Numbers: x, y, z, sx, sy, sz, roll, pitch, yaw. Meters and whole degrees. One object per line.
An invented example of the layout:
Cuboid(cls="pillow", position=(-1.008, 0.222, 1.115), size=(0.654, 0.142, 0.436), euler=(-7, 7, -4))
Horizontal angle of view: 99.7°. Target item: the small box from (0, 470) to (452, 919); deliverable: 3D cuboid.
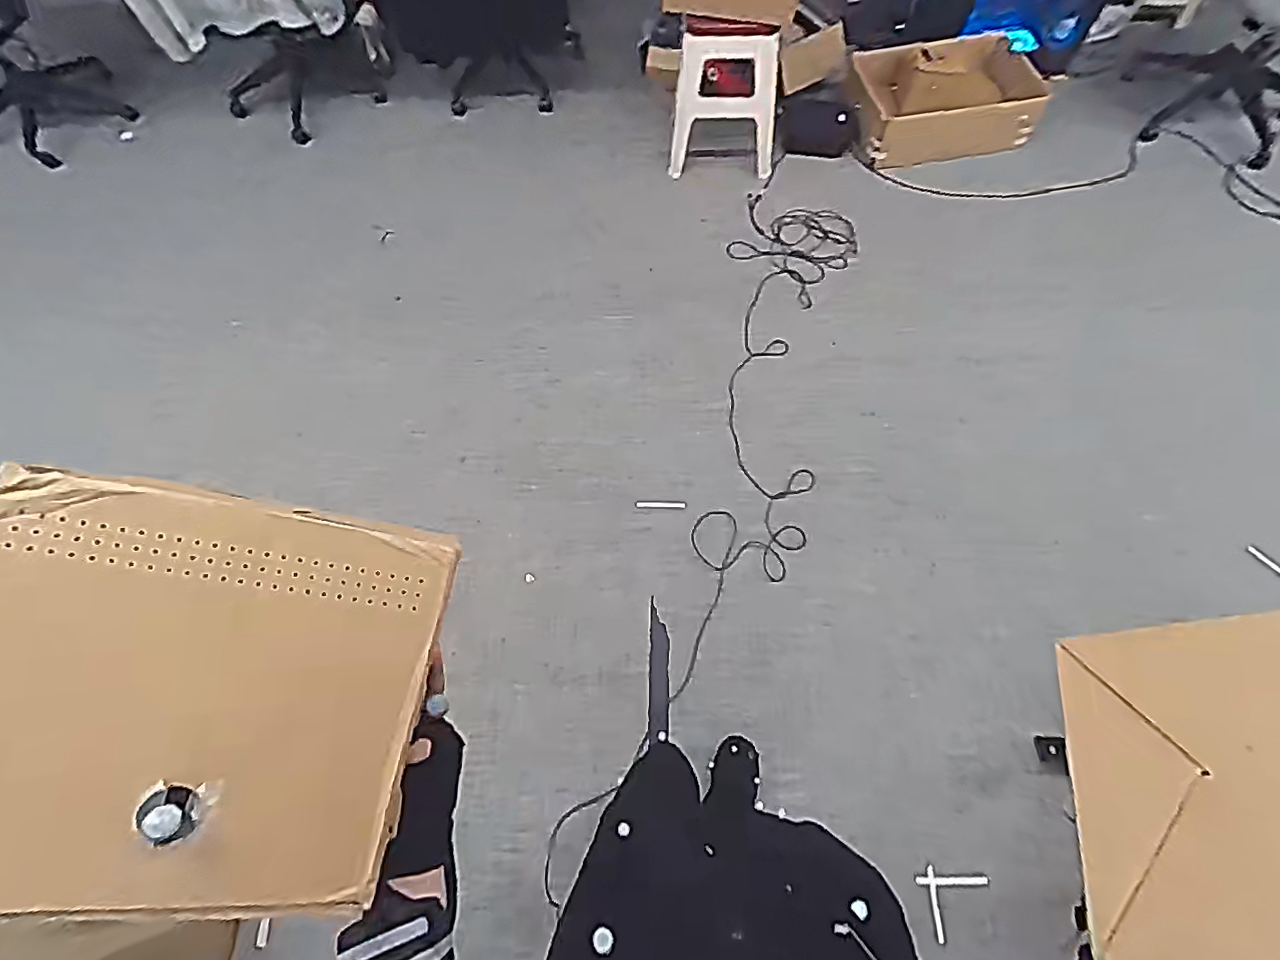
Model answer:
Cuboid(cls="small box", position=(-0.211, 0.098, 0.302), size=(0.179, 0.168, 0.176), euler=(14, 79, -18))
